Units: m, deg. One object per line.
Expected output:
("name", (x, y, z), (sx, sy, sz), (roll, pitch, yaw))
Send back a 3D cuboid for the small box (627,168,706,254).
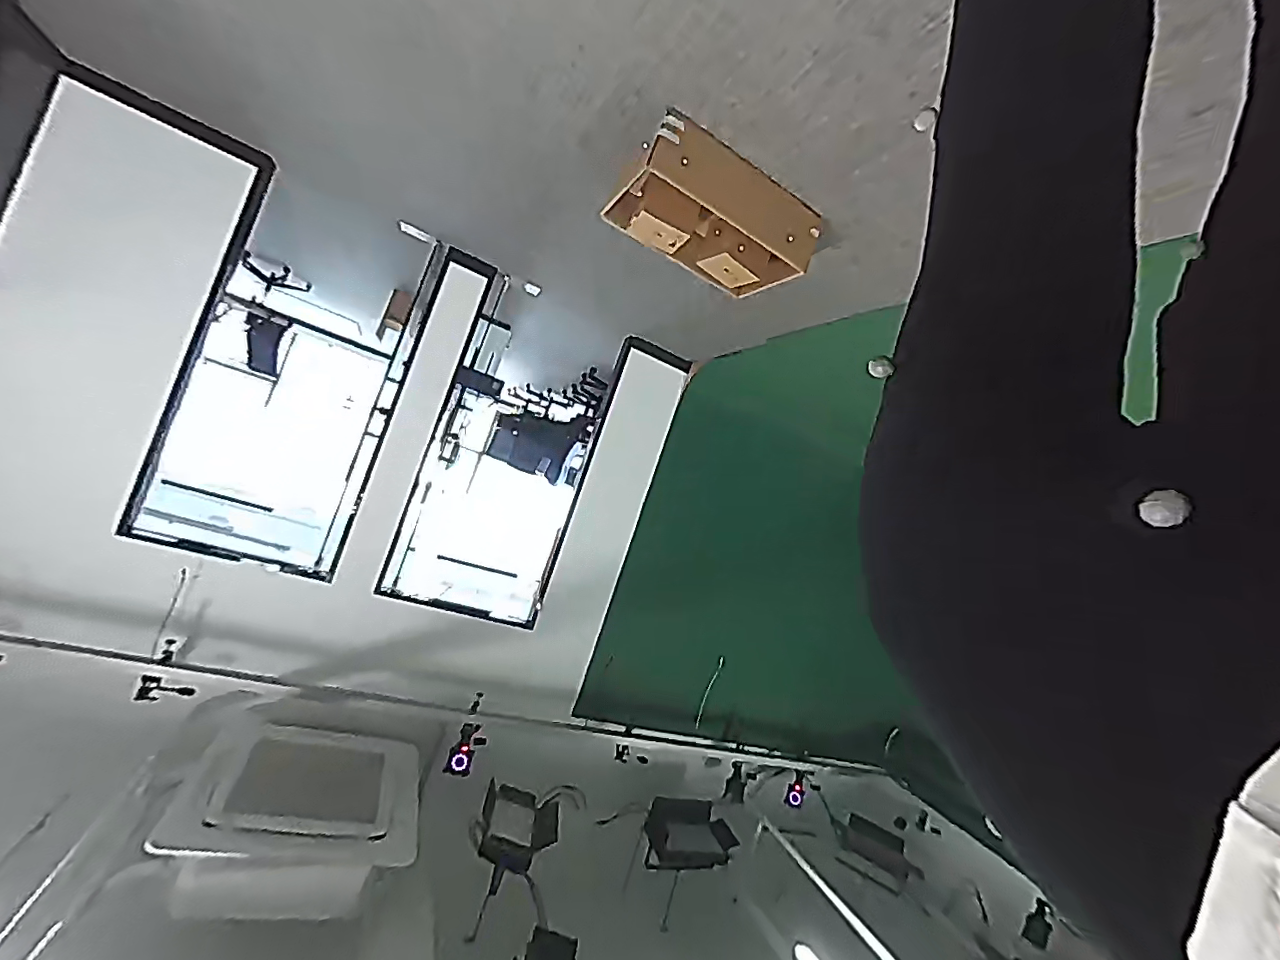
("small box", (0.084, -0.873, 1.751), (0.179, 0.176, 0.168), (20, 177, -20))
